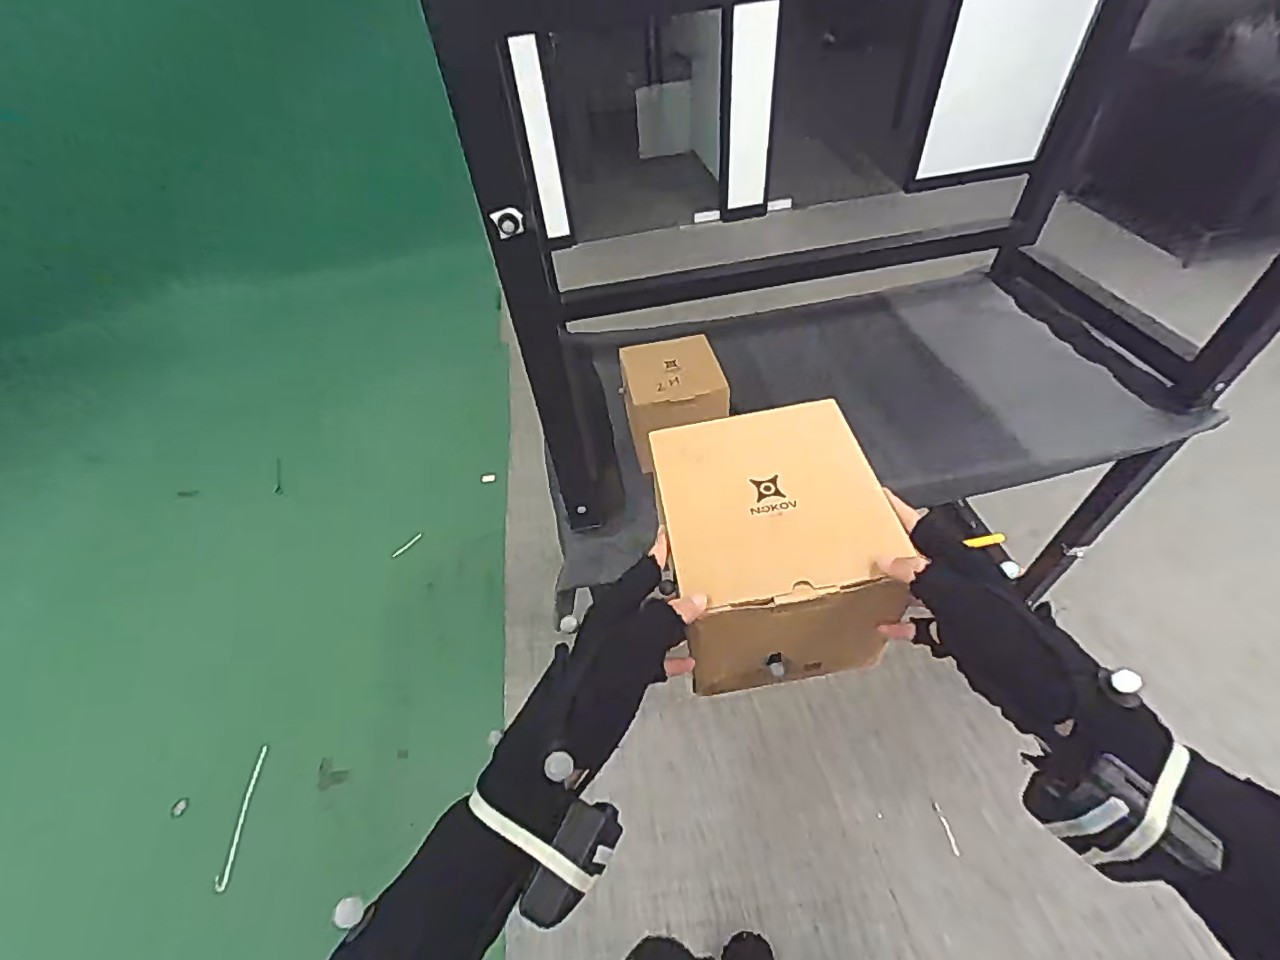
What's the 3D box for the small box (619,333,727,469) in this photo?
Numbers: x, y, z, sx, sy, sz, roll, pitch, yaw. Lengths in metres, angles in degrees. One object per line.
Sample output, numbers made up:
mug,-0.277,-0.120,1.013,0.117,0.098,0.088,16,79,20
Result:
small box,0.059,-0.148,1.015,0.168,0.176,0.179,-11,47,-3
